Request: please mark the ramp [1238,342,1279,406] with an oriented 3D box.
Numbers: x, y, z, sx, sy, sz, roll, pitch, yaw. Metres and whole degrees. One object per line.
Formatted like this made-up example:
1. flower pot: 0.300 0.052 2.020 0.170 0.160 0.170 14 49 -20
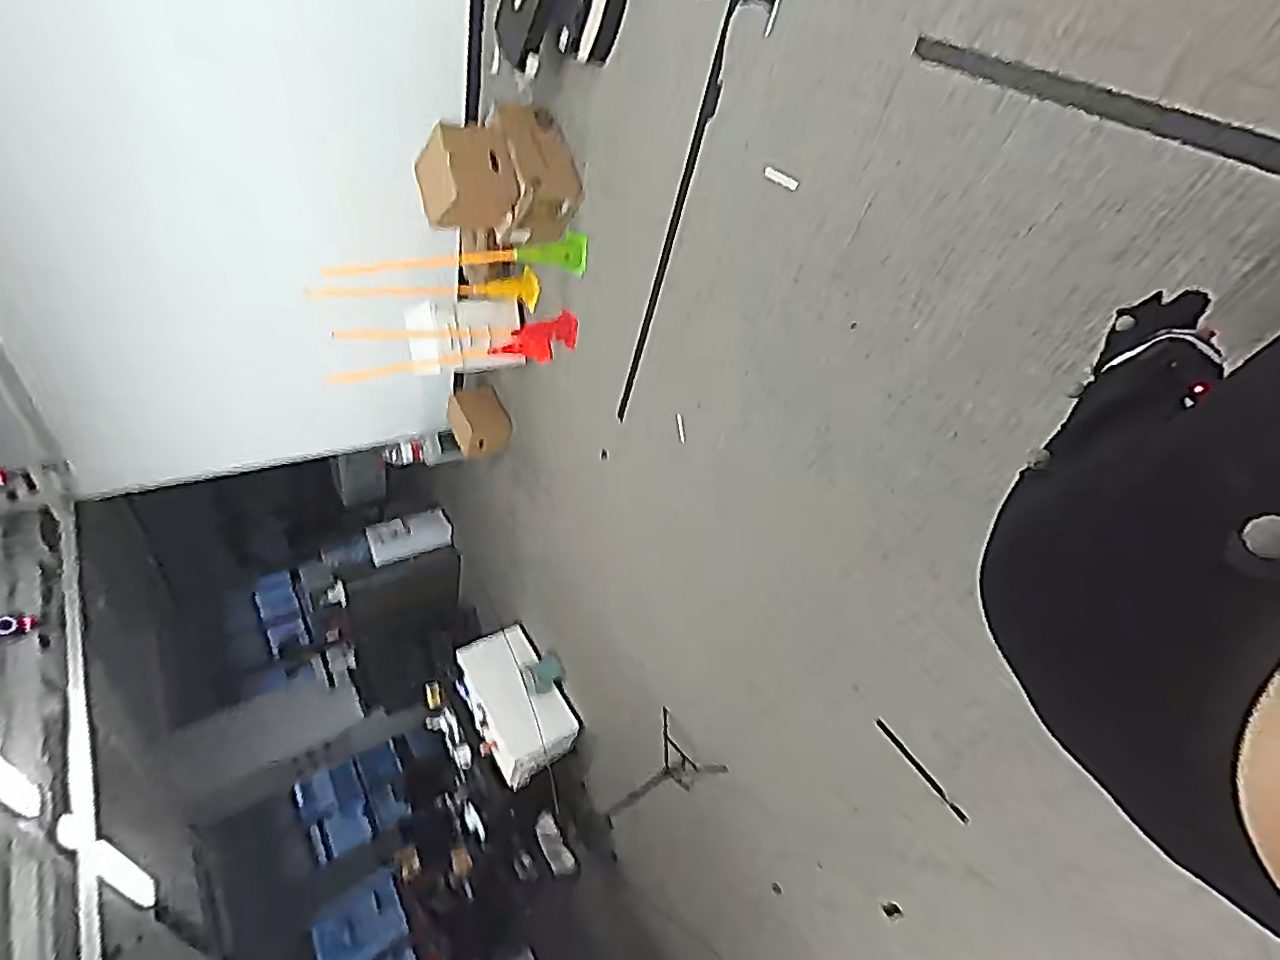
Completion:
1. ramp: 1.529 -0.072 0.667 0.991 0.206 0.509 46 135 32
